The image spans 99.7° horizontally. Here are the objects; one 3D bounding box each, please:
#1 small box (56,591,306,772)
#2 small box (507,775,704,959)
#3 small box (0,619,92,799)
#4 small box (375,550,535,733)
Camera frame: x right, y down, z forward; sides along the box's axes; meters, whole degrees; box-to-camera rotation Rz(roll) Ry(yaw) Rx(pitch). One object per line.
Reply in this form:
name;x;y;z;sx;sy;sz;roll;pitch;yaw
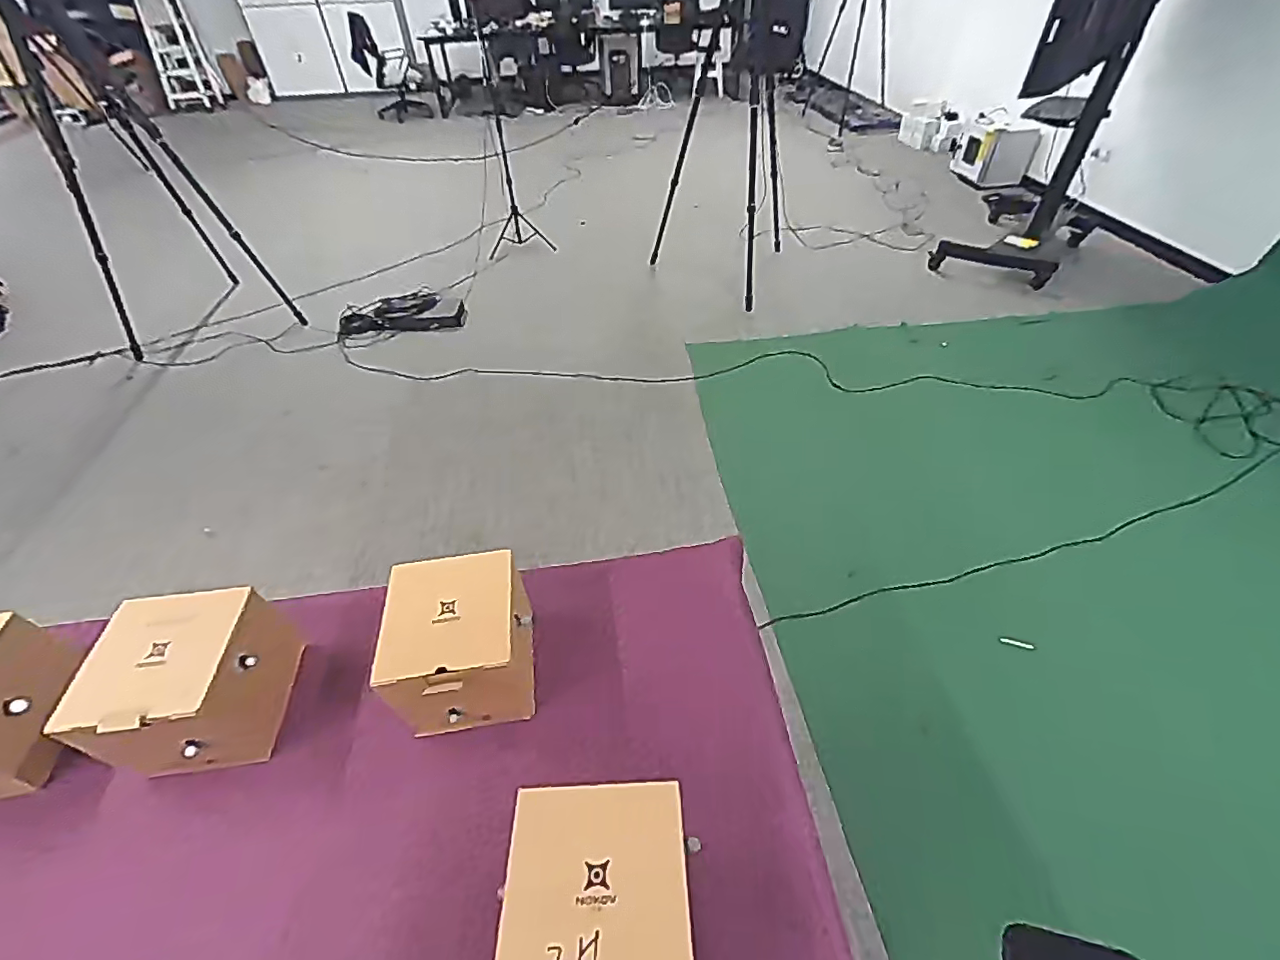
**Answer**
small box;-0.589;0.276;0.730;0.168;0.176;0.179;-6;46;-4
small box;-0.026;0.422;0.539;0.168;0.176;0.179;-3;39;1
small box;-0.878;0.313;0.708;0.168;0.176;0.179;-10;47;-7
small box;-0.244;0.226;0.759;0.168;0.176;0.179;-8;47;-5
